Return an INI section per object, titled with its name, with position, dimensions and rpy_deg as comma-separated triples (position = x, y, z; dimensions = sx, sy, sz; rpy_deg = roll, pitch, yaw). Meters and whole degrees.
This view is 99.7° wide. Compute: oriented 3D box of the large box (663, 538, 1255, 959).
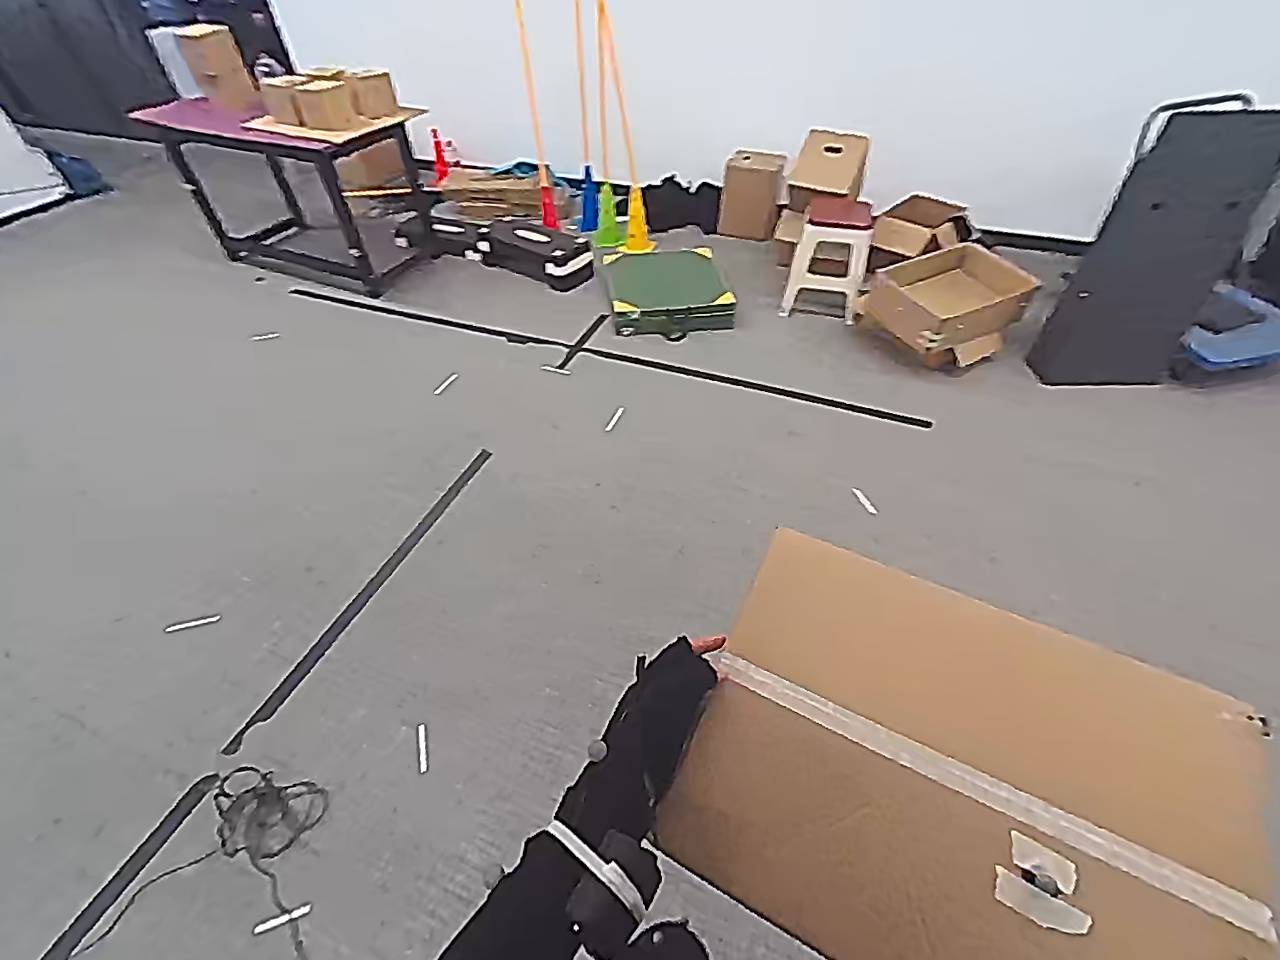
[large box]
position = 0.272, 0.321, 0.572
dimensions = 0.408, 0.320, 0.320
rpy_deg = 21, 63, 19
